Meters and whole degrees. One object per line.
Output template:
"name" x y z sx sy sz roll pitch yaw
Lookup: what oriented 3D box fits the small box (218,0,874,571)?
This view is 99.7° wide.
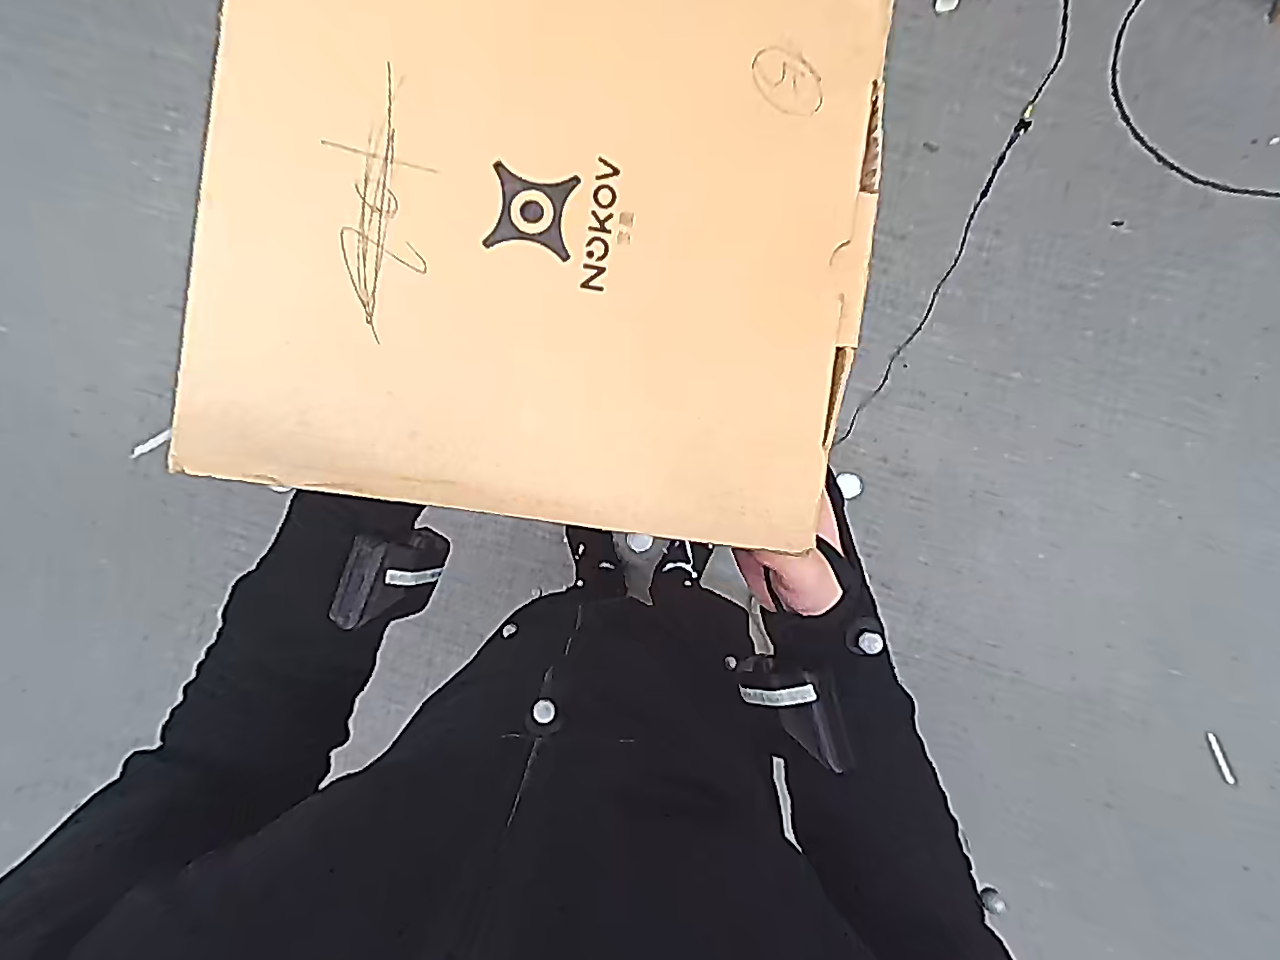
"small box" -0.030 -0.066 0.240 0.179 0.176 0.168 8 90 -4
